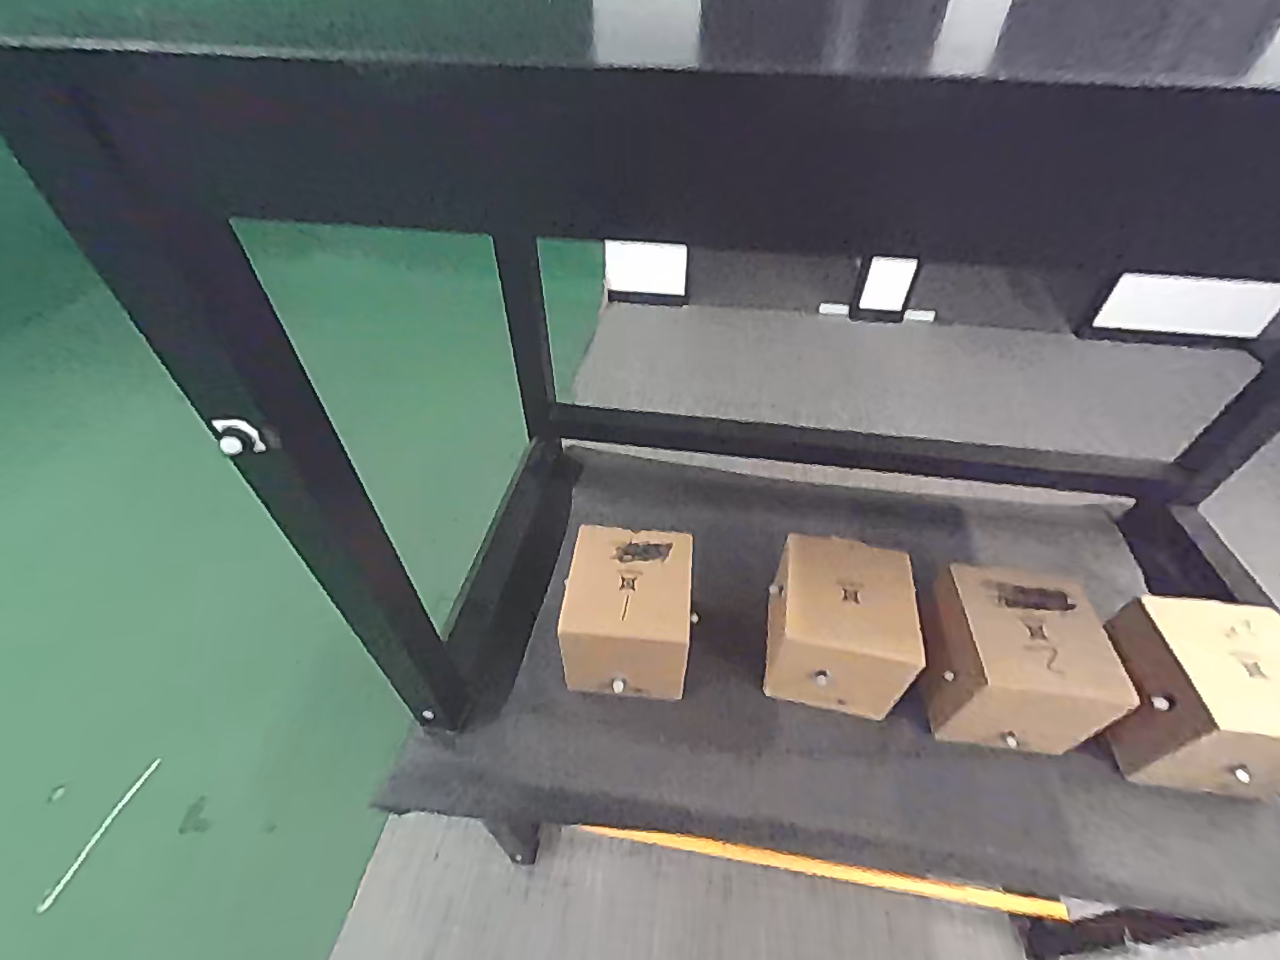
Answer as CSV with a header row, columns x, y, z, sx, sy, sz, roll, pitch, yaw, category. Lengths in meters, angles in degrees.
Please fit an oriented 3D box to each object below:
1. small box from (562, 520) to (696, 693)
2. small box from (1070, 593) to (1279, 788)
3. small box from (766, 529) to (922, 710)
x,y,z,sx,sy,sz,roll,pitch,yaw,category
-0.010,0.182,0.782,0.168,0.176,0.179,4,46,4,small box
0.714,0.272,0.696,0.168,0.176,0.179,6,45,5,small box
0.278,0.200,0.771,0.168,0.176,0.179,10,45,9,small box
